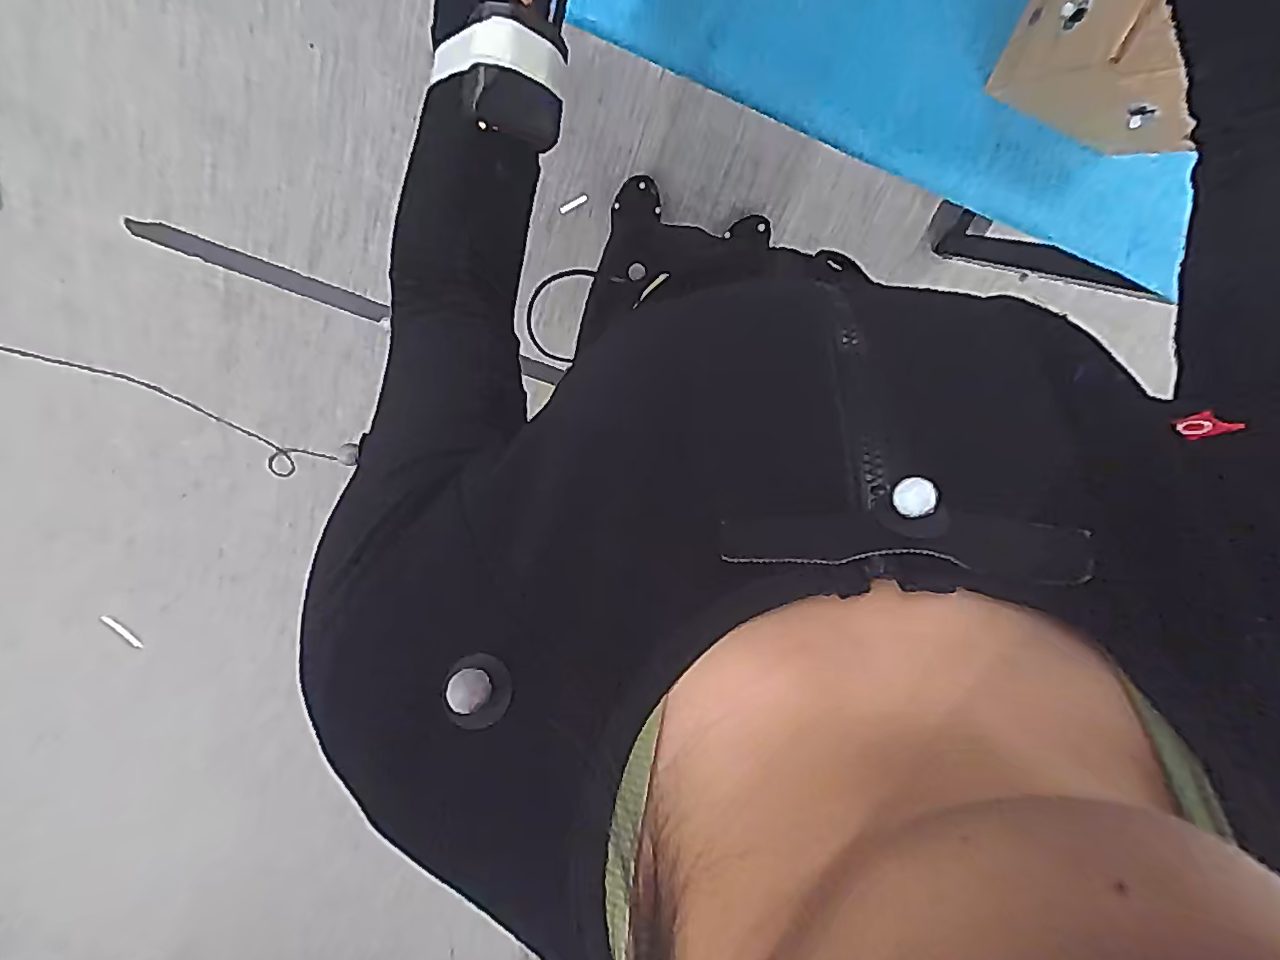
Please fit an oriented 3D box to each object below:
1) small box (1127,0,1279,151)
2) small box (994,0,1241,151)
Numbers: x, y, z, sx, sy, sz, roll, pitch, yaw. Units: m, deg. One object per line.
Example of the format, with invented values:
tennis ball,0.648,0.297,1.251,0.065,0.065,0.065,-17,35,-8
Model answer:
small box,0.481,-0.322,0.337,0.179,0.176,0.168,13,117,-11
small box,0.468,-0.409,0.474,0.179,0.176,0.168,17,117,-12
